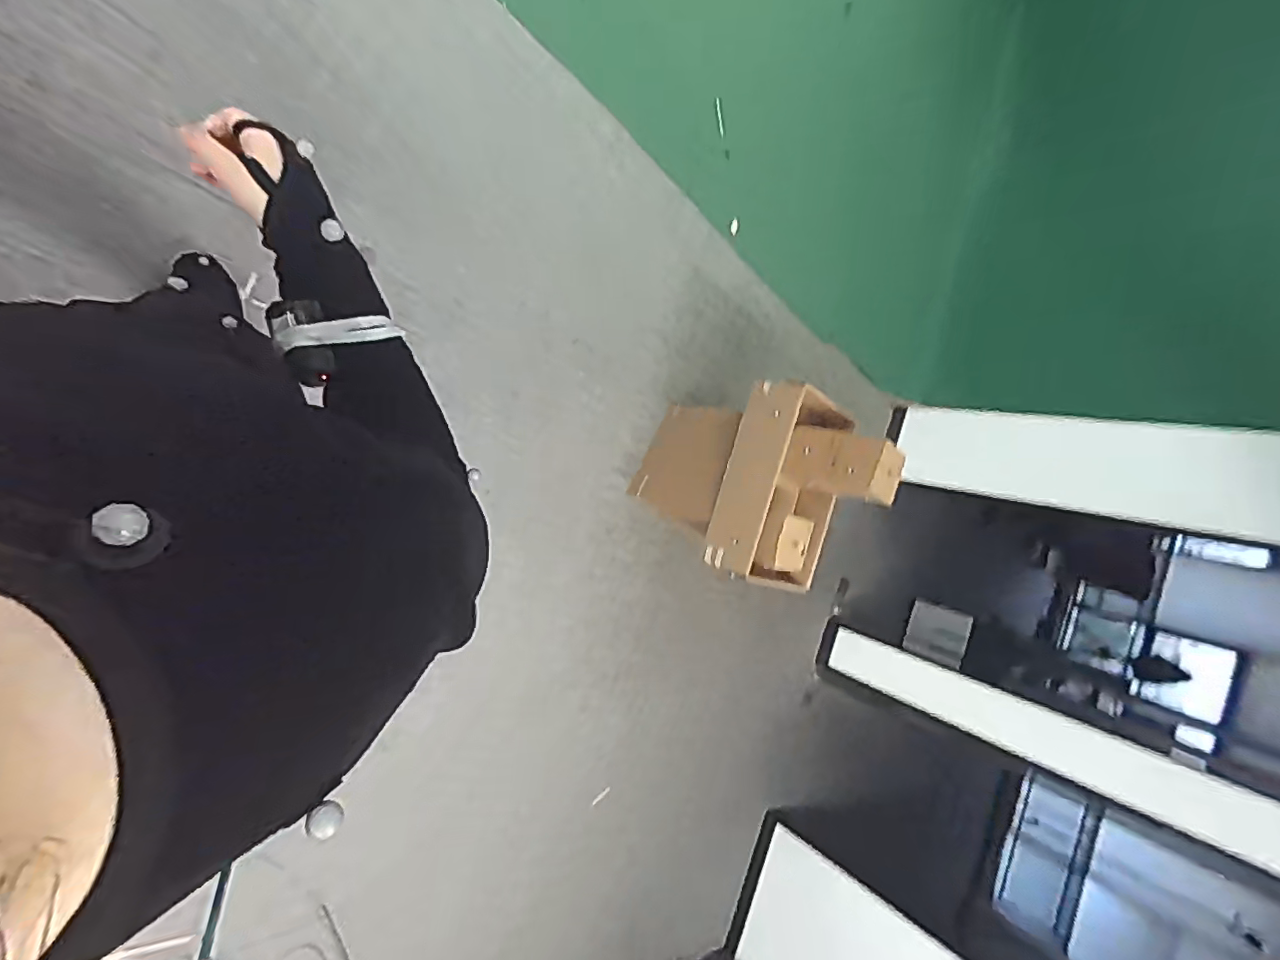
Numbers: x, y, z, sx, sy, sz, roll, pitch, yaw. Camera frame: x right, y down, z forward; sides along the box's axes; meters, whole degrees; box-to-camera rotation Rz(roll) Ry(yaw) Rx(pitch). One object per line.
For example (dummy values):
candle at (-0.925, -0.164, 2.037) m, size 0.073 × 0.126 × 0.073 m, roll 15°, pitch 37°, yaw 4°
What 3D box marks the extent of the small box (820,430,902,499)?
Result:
small box at (0.698, -0.054, 1.717) m, size 0.179 × 0.176 × 0.168 m, roll 22°, pitch 86°, yaw -44°
